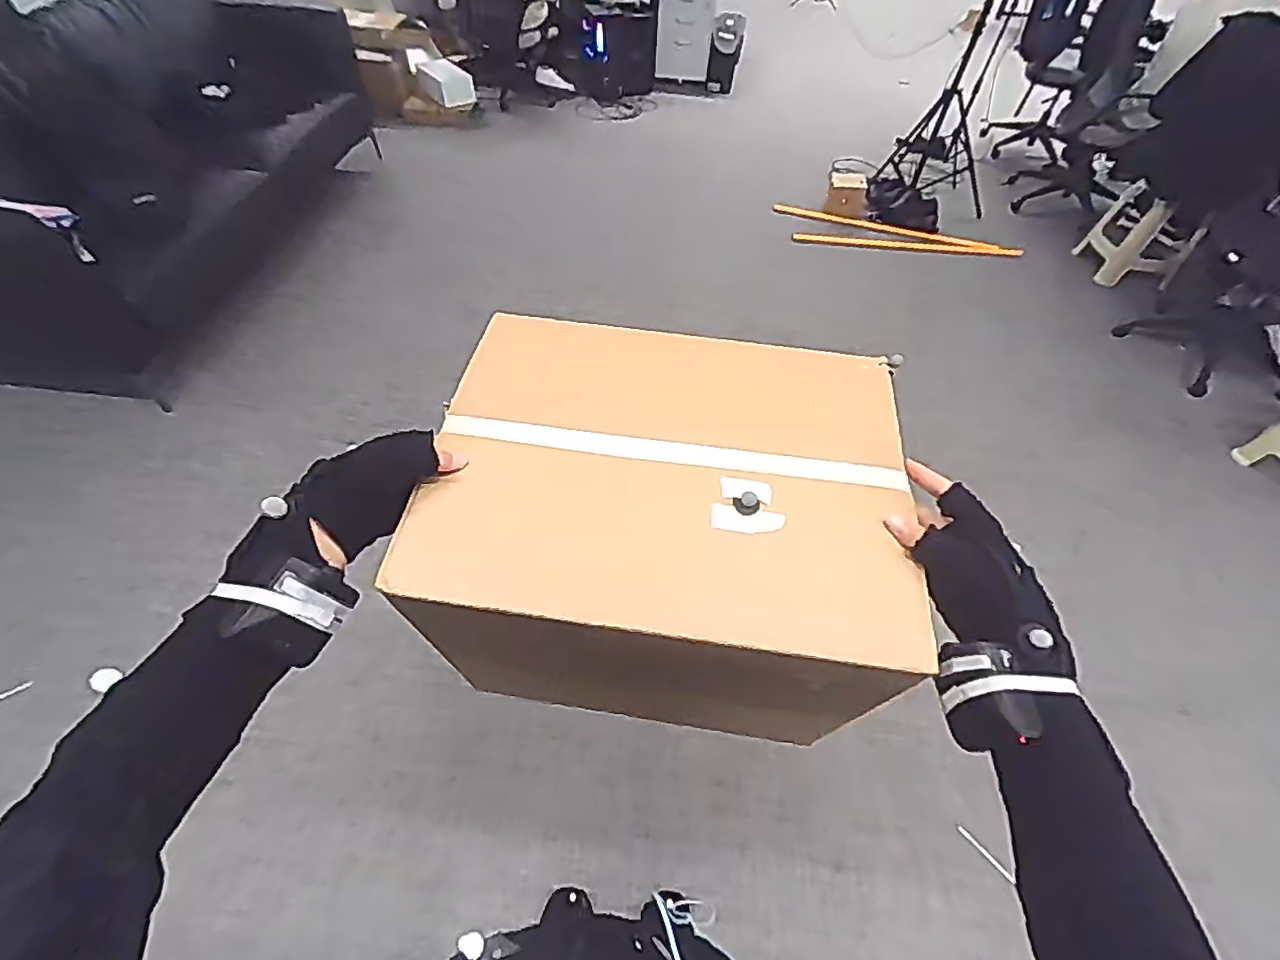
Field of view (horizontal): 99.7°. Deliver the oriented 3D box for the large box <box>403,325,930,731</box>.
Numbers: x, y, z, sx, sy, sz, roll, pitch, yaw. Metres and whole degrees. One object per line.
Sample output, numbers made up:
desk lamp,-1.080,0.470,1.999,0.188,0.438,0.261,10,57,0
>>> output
large box,0.026,0.065,0.604,0.408,0.320,0.320,8,56,2
